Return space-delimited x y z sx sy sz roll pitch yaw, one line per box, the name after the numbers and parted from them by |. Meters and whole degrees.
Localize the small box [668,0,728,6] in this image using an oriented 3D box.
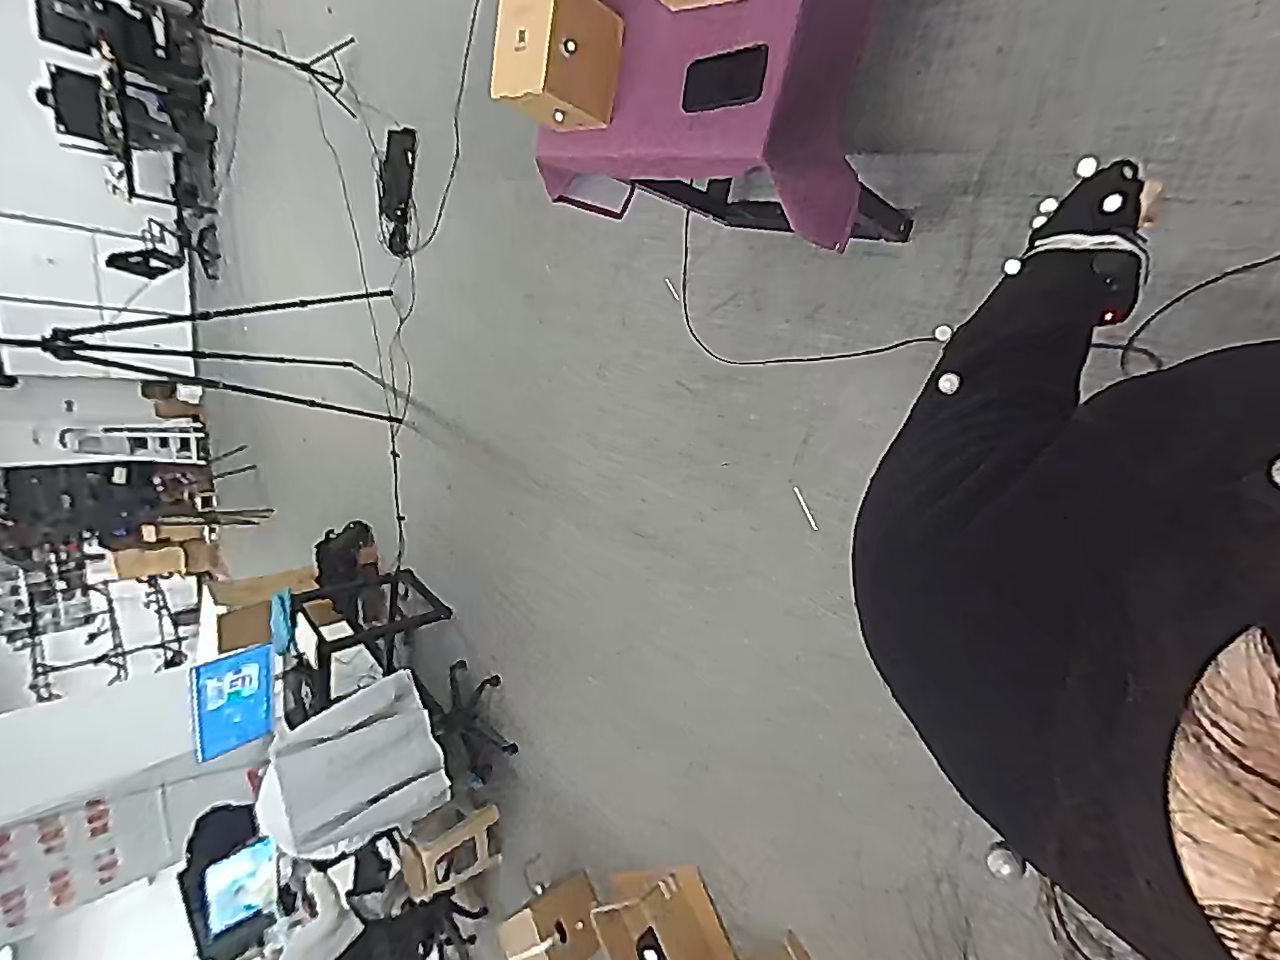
0.080 -0.840 0.792 0.168 0.176 0.179 30 114 37 | small box
